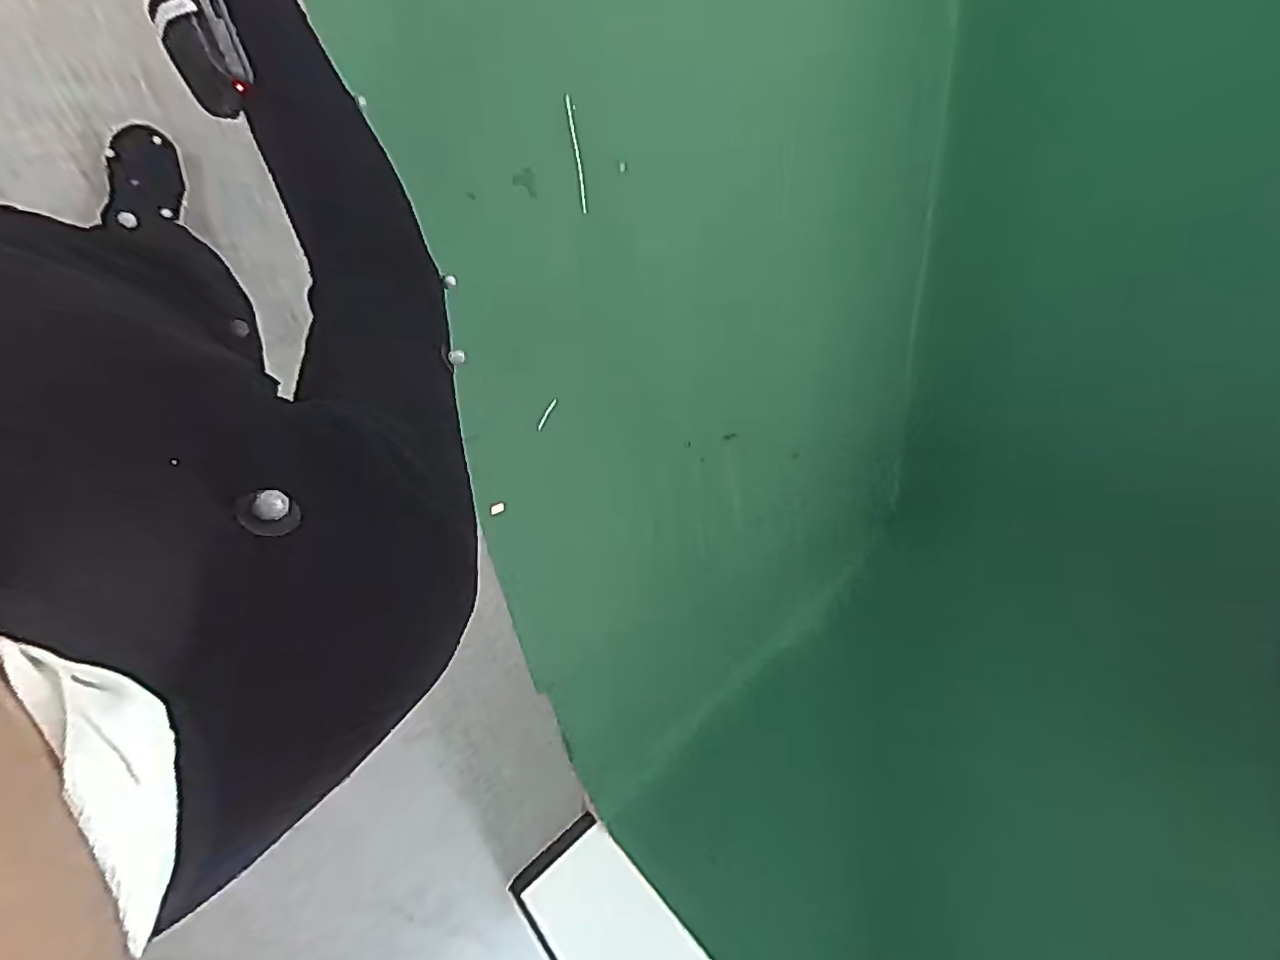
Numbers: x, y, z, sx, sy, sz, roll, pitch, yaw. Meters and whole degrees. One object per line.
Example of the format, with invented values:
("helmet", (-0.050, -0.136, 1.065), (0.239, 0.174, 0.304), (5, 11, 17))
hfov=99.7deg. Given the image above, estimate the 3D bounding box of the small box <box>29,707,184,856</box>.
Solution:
("small box", (-1.105, 0.619, 1.132), (0.179, 0.176, 0.168), (-29, 123, -31))
